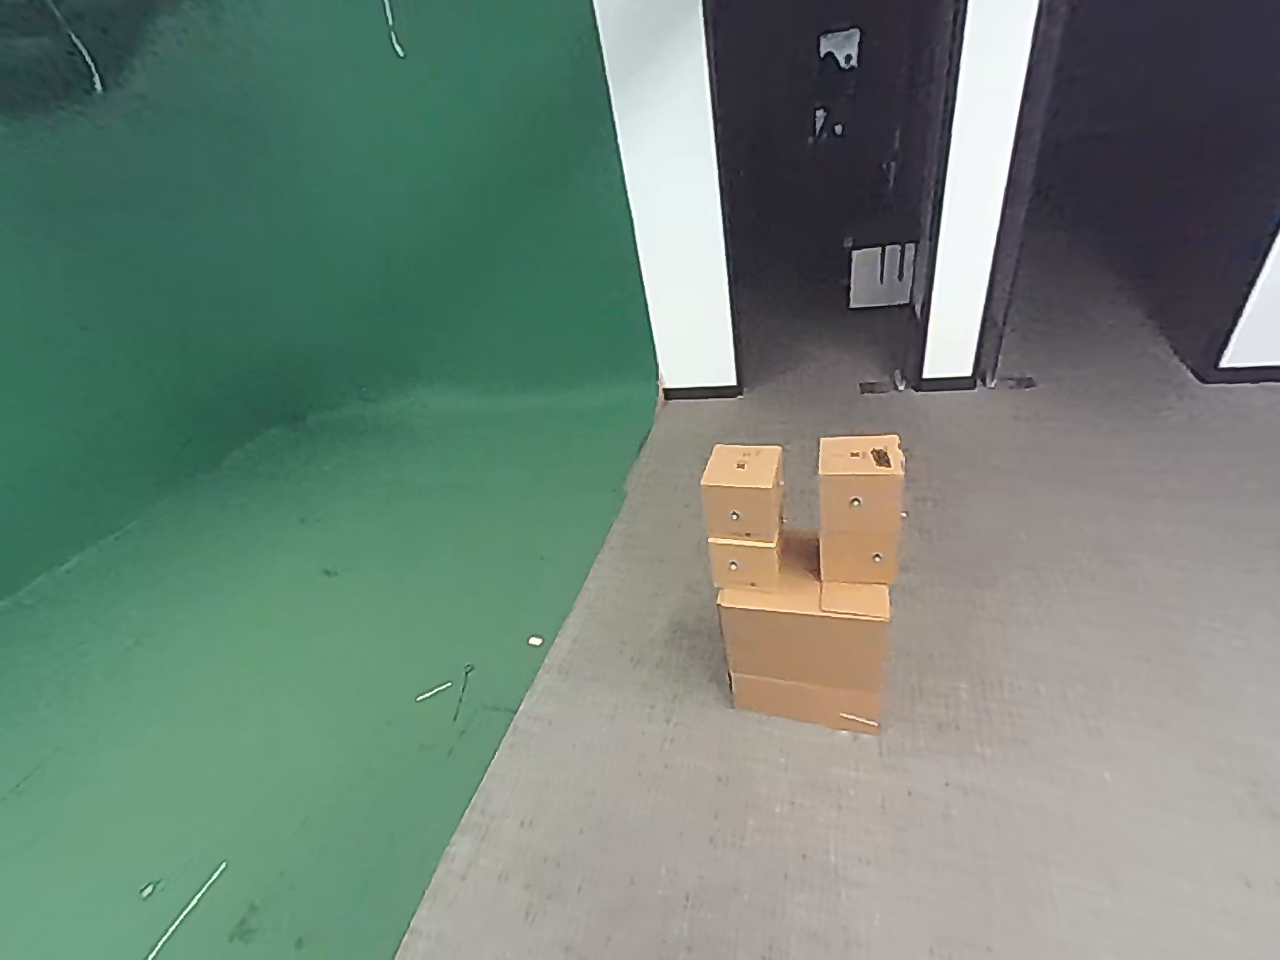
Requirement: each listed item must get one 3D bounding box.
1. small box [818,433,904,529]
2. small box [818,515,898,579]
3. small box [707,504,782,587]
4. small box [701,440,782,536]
[{"bbox_3d":[0.518,0.003,1.279,0.179,0.176,0.168,0,36,21],"label":"small box"},{"bbox_3d":[0.546,0.135,1.373,0.179,0.176,0.168,0,36,20],"label":"small box"},{"bbox_3d":[0.281,0.159,1.418,0.168,0.176,0.179,3,38,20],"label":"small box"},{"bbox_3d":[0.257,0.019,1.333,0.168,0.176,0.179,5,38,21],"label":"small box"}]
